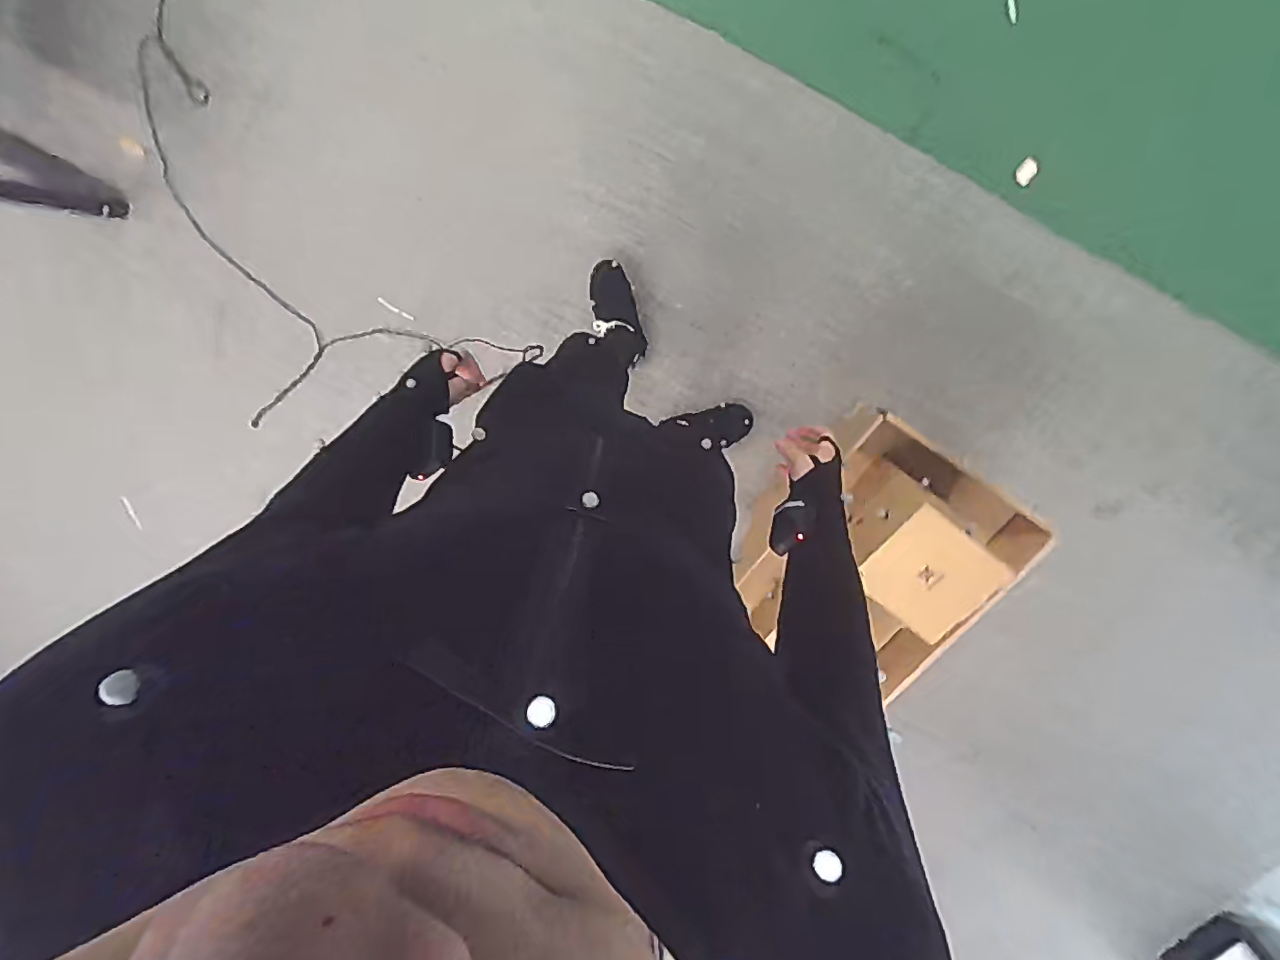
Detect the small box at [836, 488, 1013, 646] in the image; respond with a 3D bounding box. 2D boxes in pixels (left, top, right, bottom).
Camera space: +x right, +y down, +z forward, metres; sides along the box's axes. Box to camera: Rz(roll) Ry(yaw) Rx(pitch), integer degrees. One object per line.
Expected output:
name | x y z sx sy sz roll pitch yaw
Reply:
small box | 0.456 0.132 0.904 0.179 0.176 0.168 38 109 -2
